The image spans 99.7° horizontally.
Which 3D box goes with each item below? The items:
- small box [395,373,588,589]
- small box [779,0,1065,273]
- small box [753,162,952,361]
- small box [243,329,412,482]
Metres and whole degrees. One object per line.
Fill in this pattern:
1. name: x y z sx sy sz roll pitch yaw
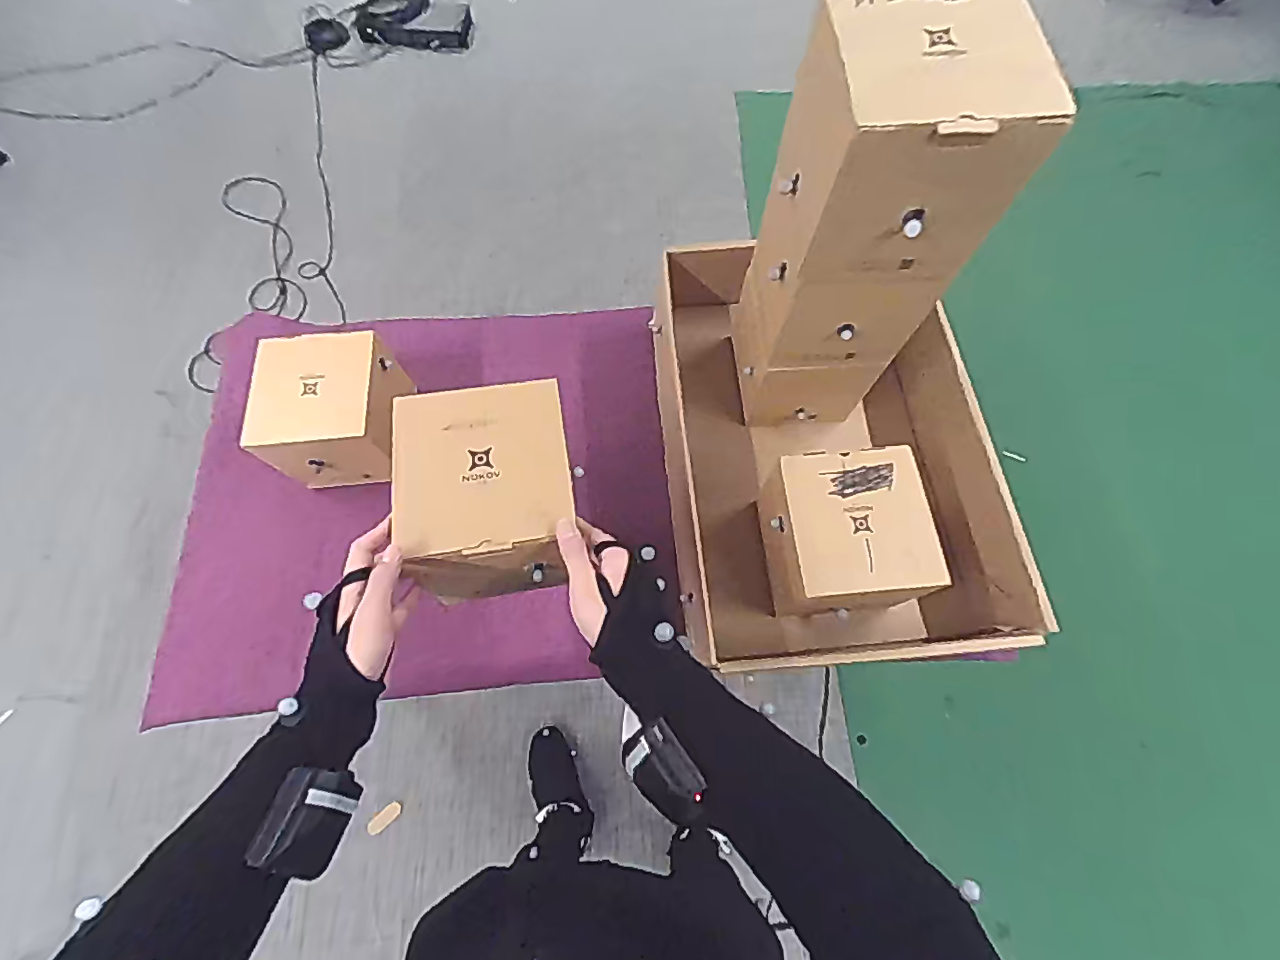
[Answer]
1. small box: -0.149 0.012 0.585 0.168 0.176 0.179 -8 66 -6
2. small box: 0.237 -0.315 0.508 0.168 0.176 0.179 -2 70 -1
3. small box: 0.241 -0.259 0.662 0.168 0.176 0.179 -2 69 -1
4. small box: -0.458 -0.104 0.828 0.168 0.176 0.179 -6 67 -3
